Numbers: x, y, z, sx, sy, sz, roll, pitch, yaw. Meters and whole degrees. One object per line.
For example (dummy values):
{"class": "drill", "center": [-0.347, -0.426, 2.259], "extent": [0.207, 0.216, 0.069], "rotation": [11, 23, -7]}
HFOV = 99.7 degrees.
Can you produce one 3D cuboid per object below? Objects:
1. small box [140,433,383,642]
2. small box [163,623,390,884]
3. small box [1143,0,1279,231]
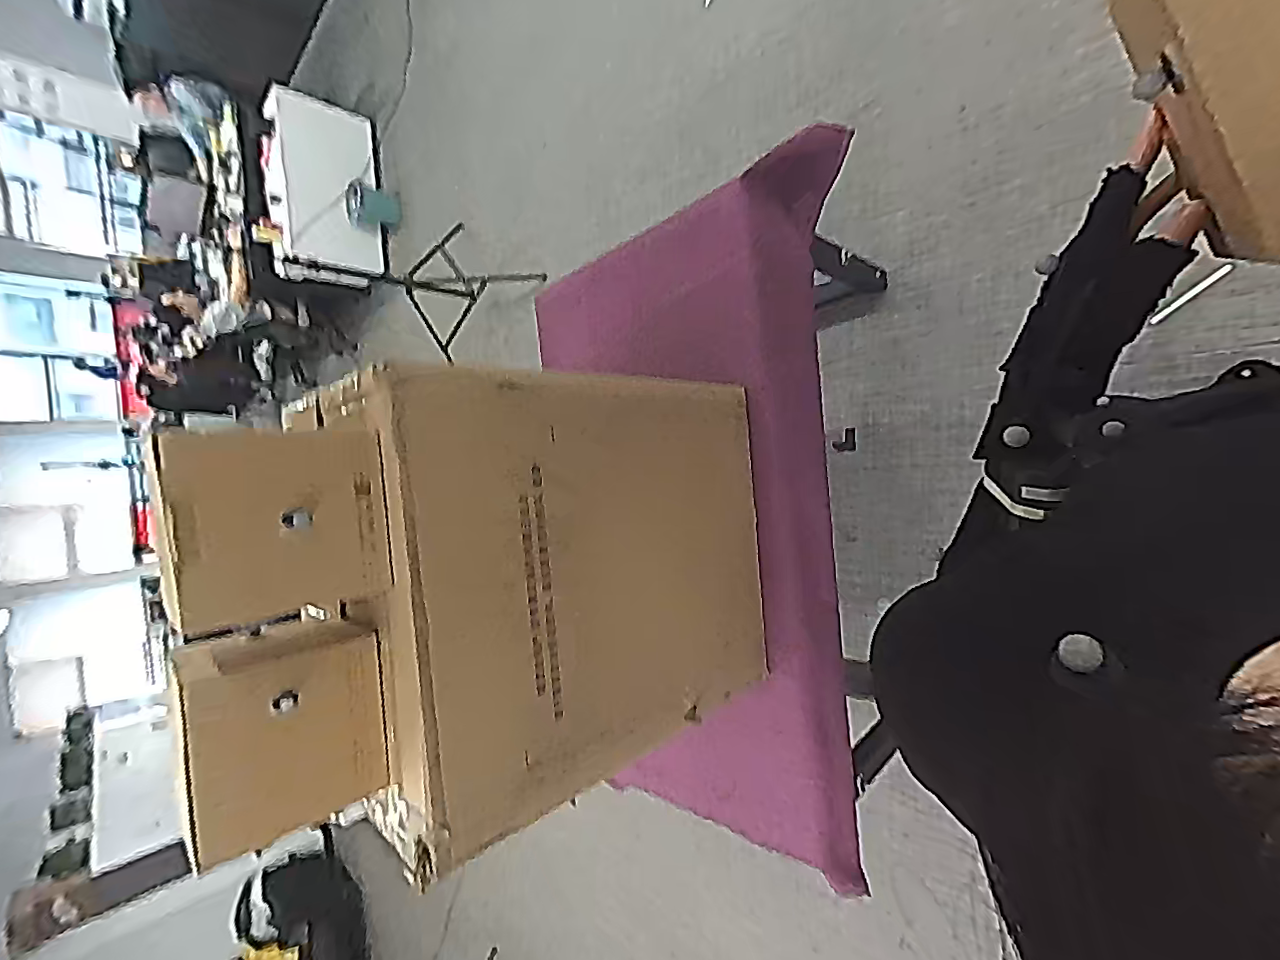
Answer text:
{"class": "small box", "center": [-0.370, 0.042, 0.541], "extent": [0.179, 0.176, 0.168], "rotation": [-1, 95, 45]}
{"class": "small box", "center": [-0.387, 0.265, 0.581], "extent": [0.168, 0.176, 0.179], "rotation": [-4, 91, 46]}
{"class": "small box", "center": [0.333, -0.218, 0.212], "extent": [0.168, 0.176, 0.179], "rotation": [-26, 90, 47]}
